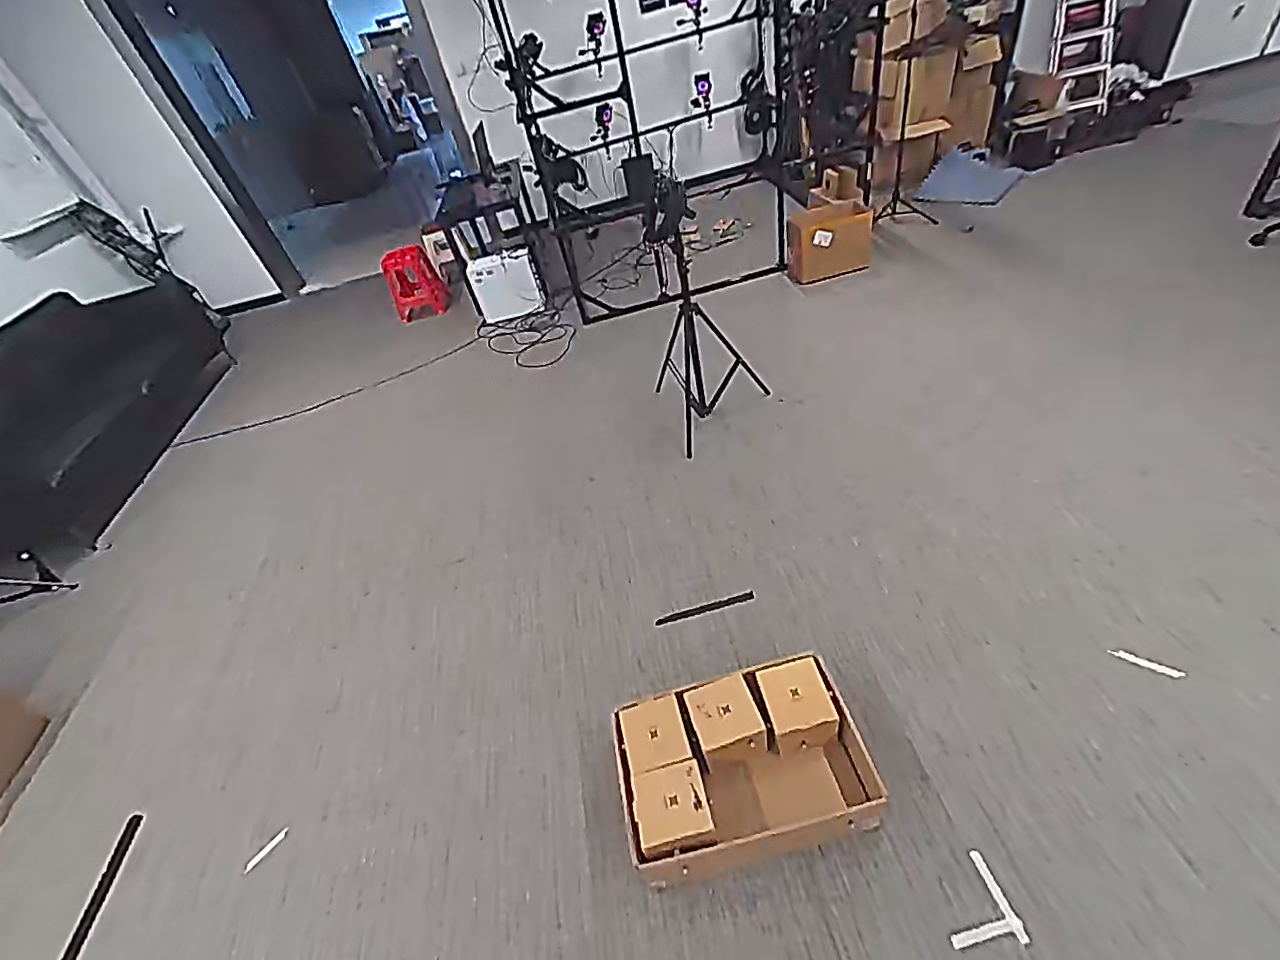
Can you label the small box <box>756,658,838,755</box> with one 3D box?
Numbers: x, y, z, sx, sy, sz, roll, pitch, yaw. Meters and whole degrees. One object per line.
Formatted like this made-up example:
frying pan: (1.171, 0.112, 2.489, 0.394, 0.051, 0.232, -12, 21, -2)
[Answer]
small box: (0.427, 0.624, 1.486, 0.168, 0.176, 0.179, -16, 45, 1)
